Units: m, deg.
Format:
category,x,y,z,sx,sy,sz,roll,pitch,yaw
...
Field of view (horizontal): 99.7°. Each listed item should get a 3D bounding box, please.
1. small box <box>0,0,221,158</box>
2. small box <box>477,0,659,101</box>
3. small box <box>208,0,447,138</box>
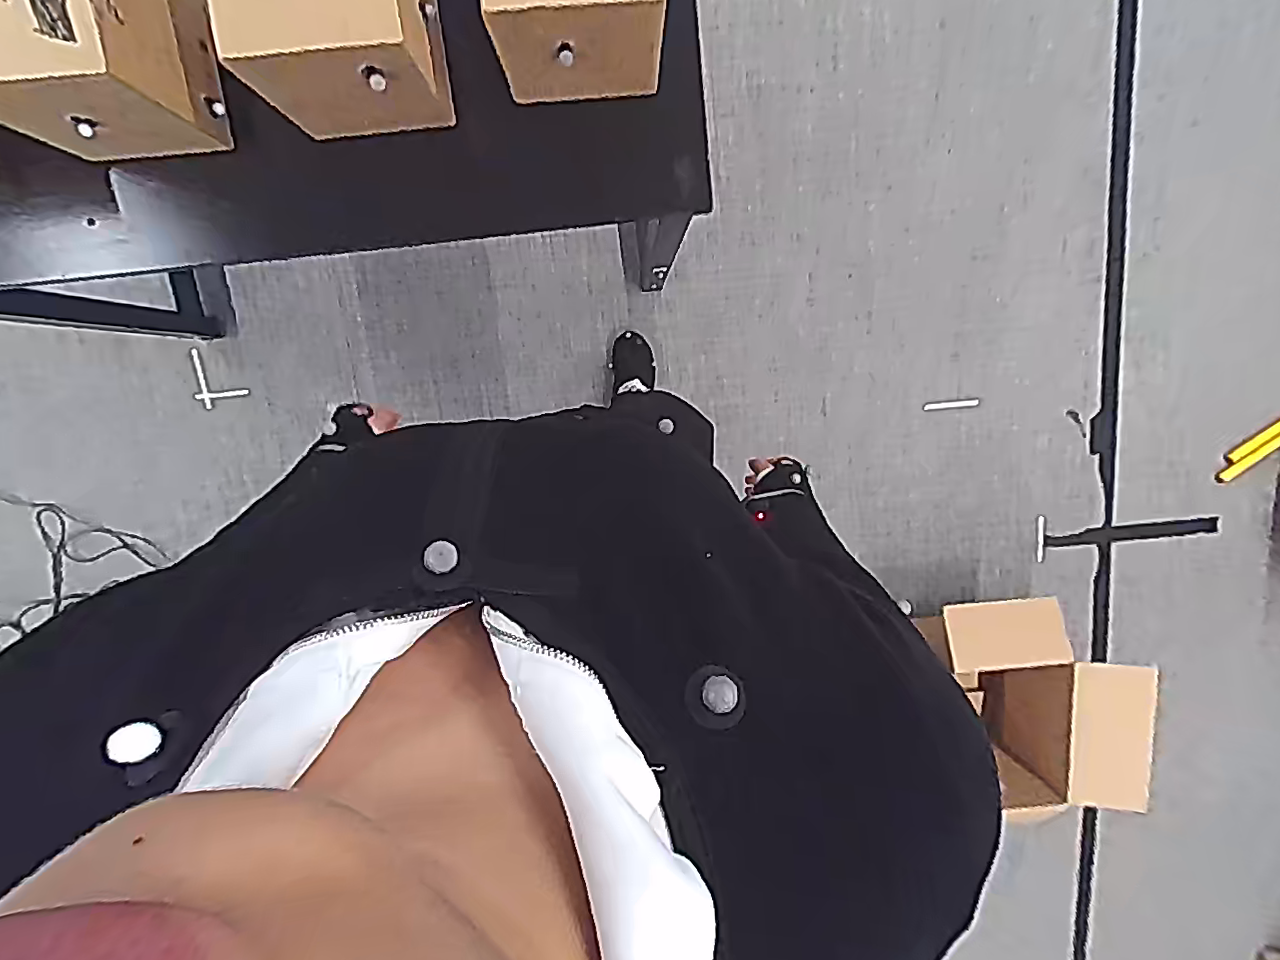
category,x,y,z,sx,sy,sz,roll,pitch,yaw
small box,-0.586,-0.463,0.567,0.179,0.176,0.168,-5,100,0
small box,-0.072,-0.535,0.573,0.179,0.176,0.168,-5,100,0
small box,-0.318,-0.492,0.571,0.179,0.176,0.168,-7,99,-1
